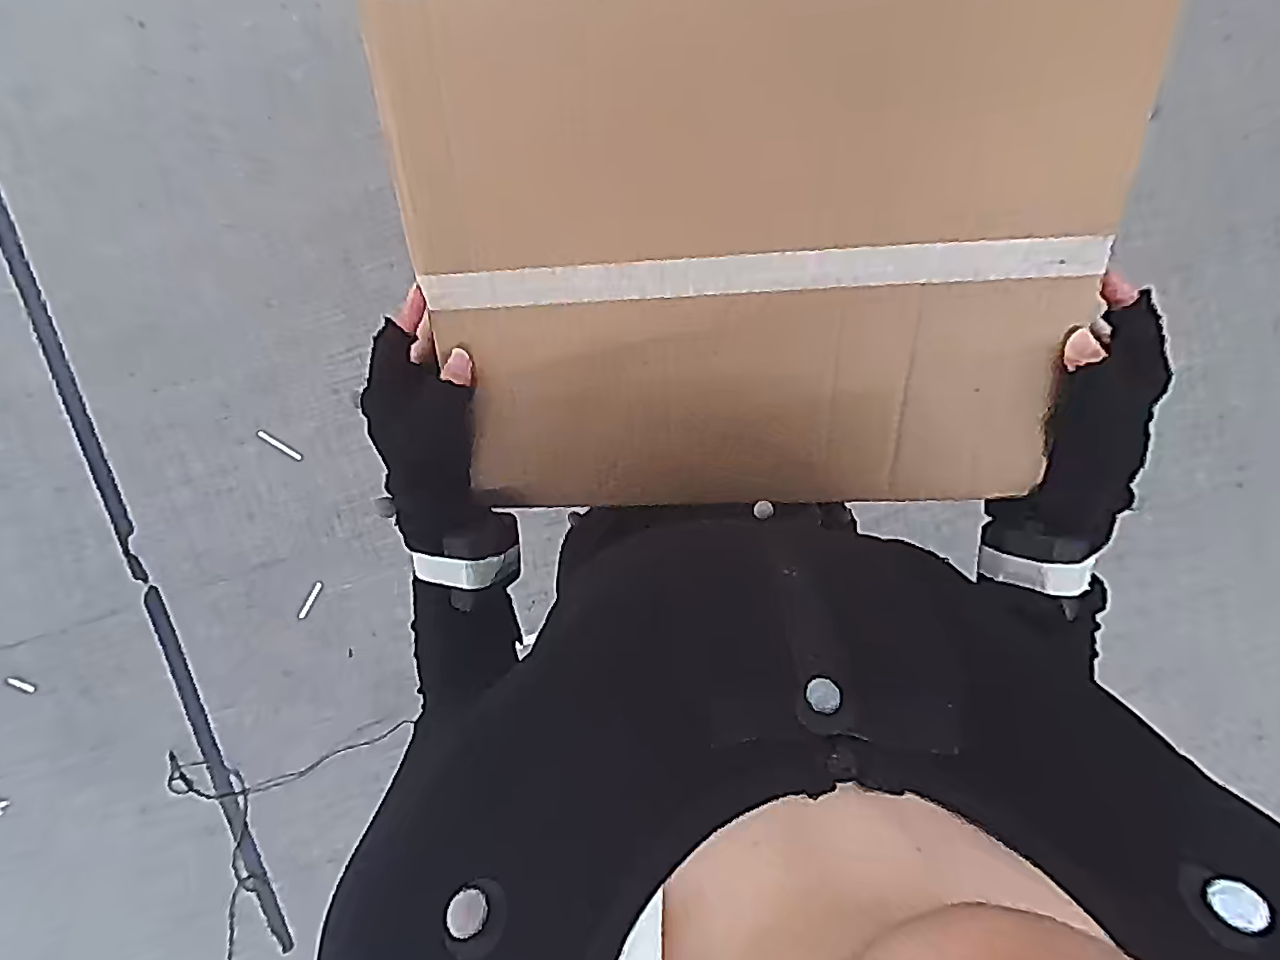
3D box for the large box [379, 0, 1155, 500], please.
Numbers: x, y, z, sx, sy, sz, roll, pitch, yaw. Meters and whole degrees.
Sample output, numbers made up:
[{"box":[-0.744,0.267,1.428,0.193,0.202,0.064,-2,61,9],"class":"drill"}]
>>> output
[{"box":[0.072,-0.192,0.468,0.408,0.320,0.320,-1,117,4],"class":"large box"}]
